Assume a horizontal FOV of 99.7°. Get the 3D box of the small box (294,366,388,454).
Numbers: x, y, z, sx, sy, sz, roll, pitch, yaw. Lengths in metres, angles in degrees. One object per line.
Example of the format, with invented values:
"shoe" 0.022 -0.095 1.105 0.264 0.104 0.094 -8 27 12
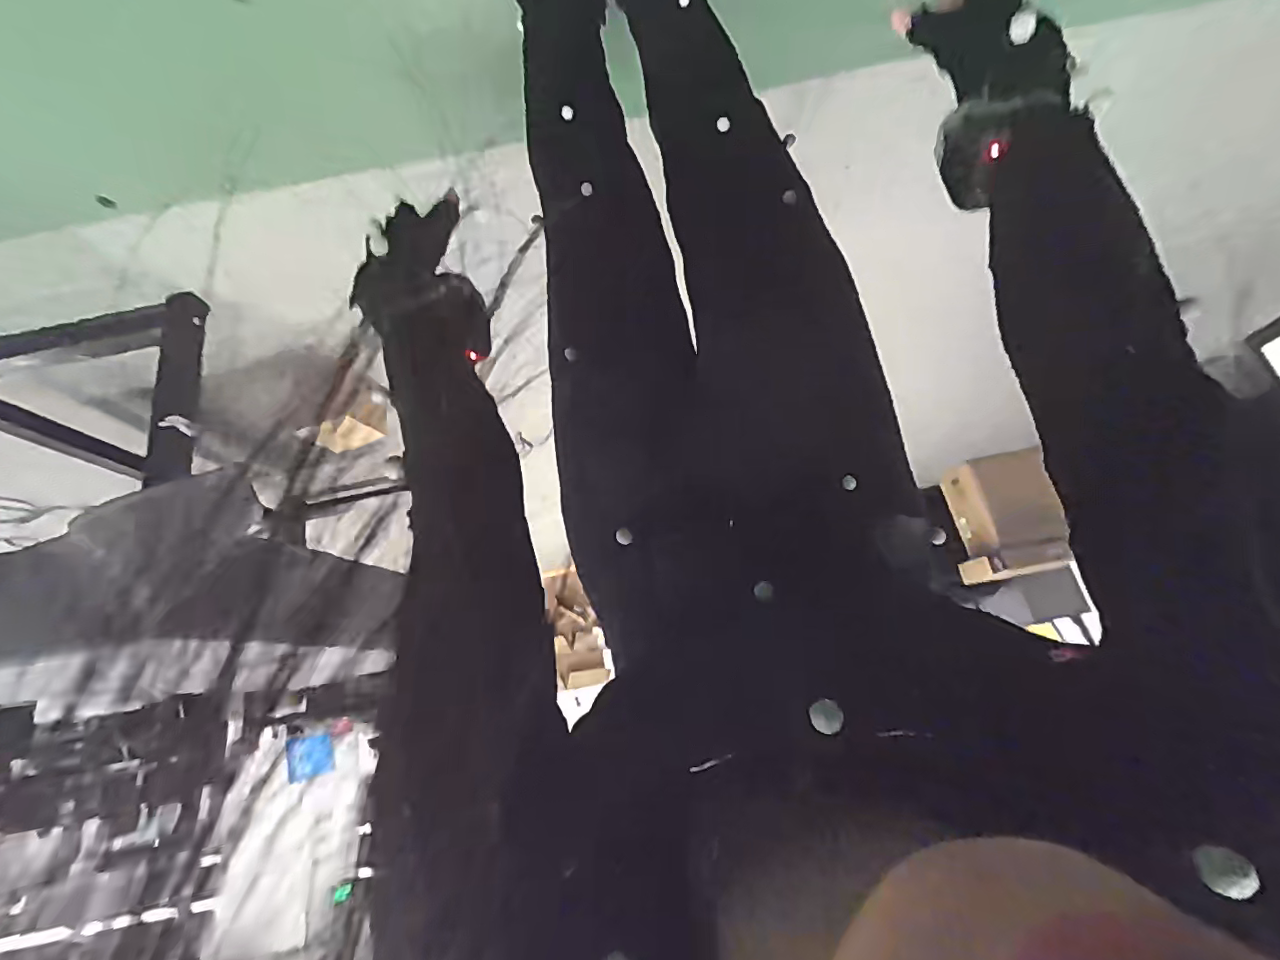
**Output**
"small box" -0.838 -0.196 1.530 0.179 0.176 0.168 -15 160 12
